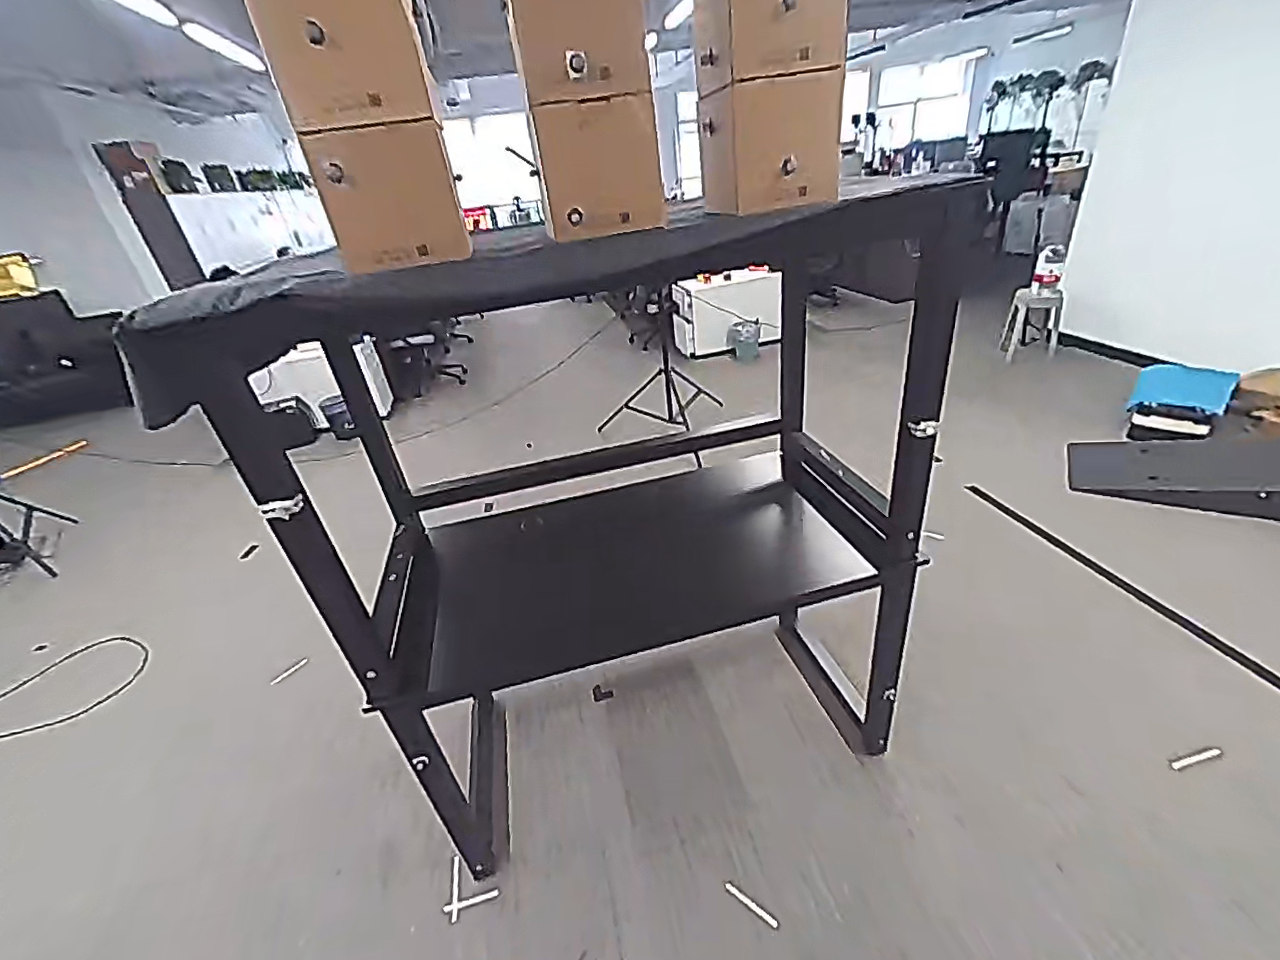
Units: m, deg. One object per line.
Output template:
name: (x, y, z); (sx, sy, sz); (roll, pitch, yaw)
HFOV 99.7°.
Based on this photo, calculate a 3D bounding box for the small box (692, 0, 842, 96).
small box: (0.178, -0.667, 0.773); (0.168, 0.176, 0.179); (-12, 30, -6)

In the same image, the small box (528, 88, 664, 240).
small box: (-0.067, -0.465, 0.816); (0.168, 0.176, 0.179); (-12, 28, -8)

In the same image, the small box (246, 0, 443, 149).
small box: (-0.364, -0.540, 0.695); (0.168, 0.176, 0.179); (-13, 28, -8)

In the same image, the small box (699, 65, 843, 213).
small box: (0.199, -0.525, 0.853); (0.168, 0.176, 0.179); (-13, 30, -6)

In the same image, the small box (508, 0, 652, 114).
small box: (-0.087, -0.607, 0.740); (0.168, 0.176, 0.179); (-13, 30, -6)
